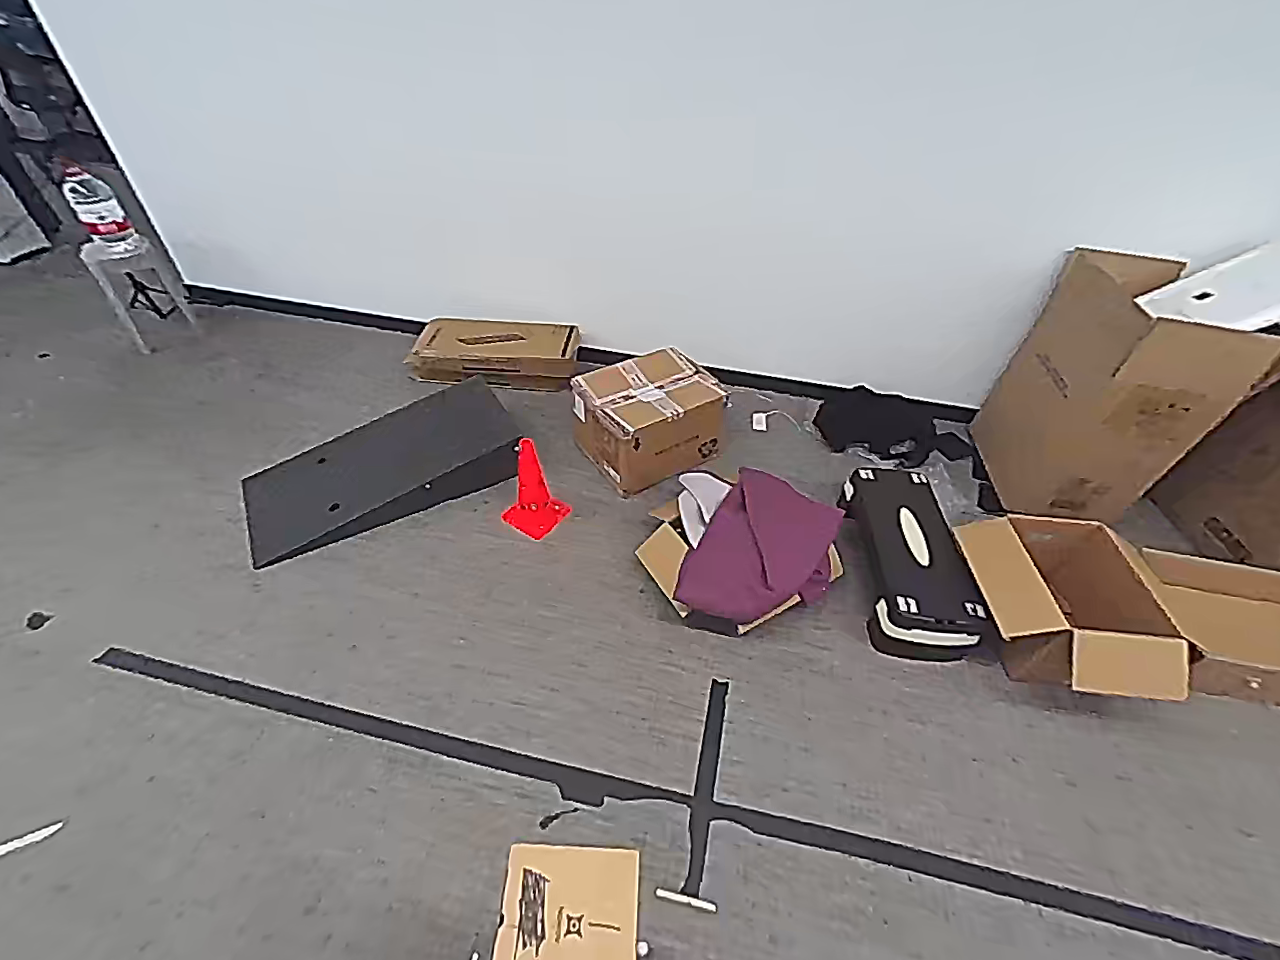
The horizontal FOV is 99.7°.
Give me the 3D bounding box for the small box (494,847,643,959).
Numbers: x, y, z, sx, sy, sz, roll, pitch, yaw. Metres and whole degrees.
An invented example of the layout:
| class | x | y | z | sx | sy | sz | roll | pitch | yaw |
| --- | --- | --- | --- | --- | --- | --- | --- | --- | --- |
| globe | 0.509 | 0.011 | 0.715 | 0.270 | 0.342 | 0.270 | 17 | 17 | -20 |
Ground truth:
| class | x | y | z | sx | sy | sz | roll | pitch | yaw |
| --- | --- | --- | --- | --- | --- | --- | --- | --- | --- |
| small box | -0.087 | 0.610 | 0.717 | 0.179 | 0.176 | 0.168 | 3 | 43 | 1 |
